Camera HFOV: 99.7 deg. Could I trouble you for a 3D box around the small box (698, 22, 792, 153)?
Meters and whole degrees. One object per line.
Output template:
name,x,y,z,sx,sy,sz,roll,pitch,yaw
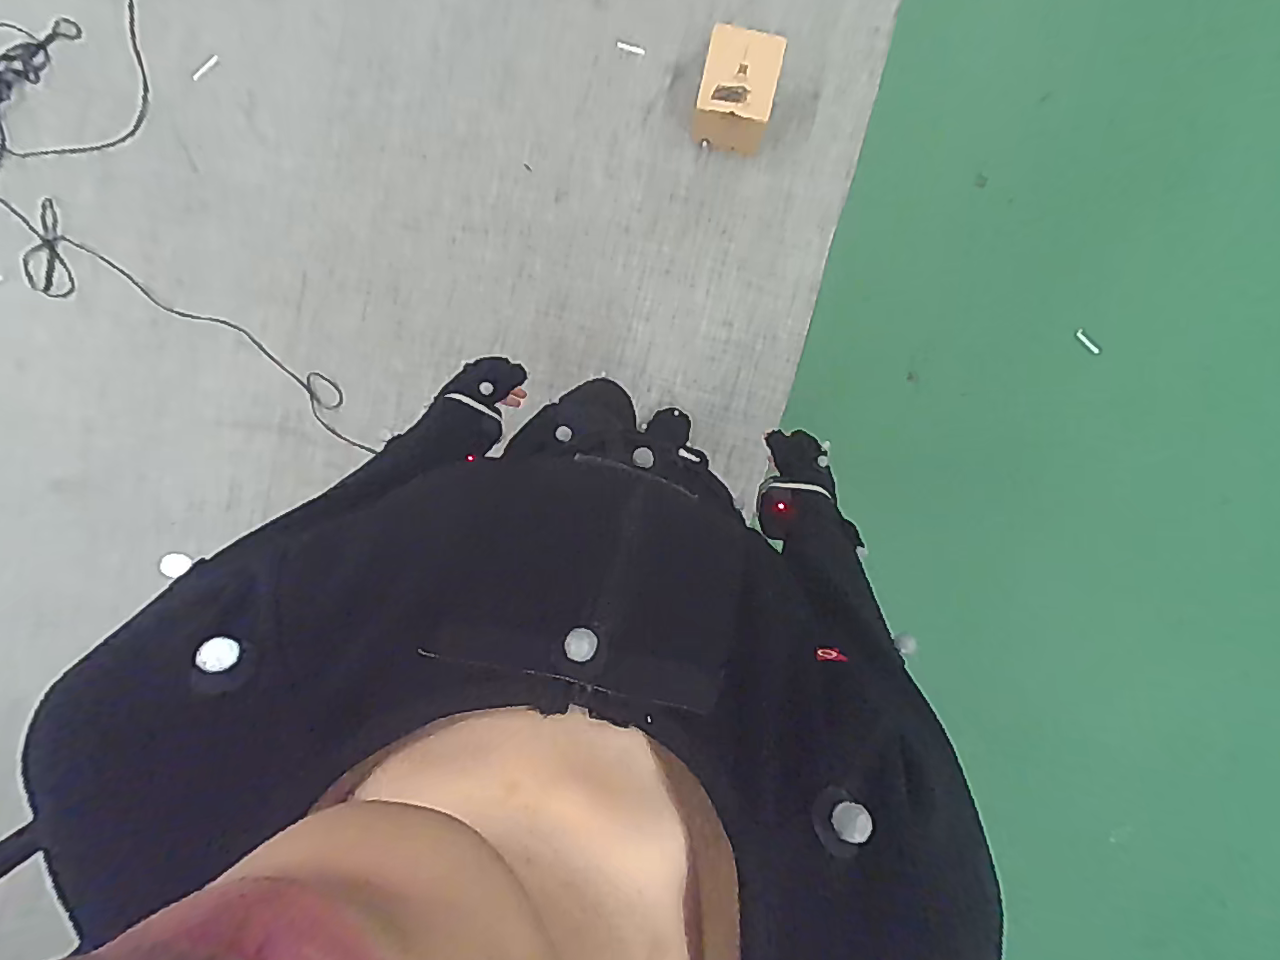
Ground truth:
small box,0.233,-0.895,1.251,0.168,0.176,0.179,14,98,1
